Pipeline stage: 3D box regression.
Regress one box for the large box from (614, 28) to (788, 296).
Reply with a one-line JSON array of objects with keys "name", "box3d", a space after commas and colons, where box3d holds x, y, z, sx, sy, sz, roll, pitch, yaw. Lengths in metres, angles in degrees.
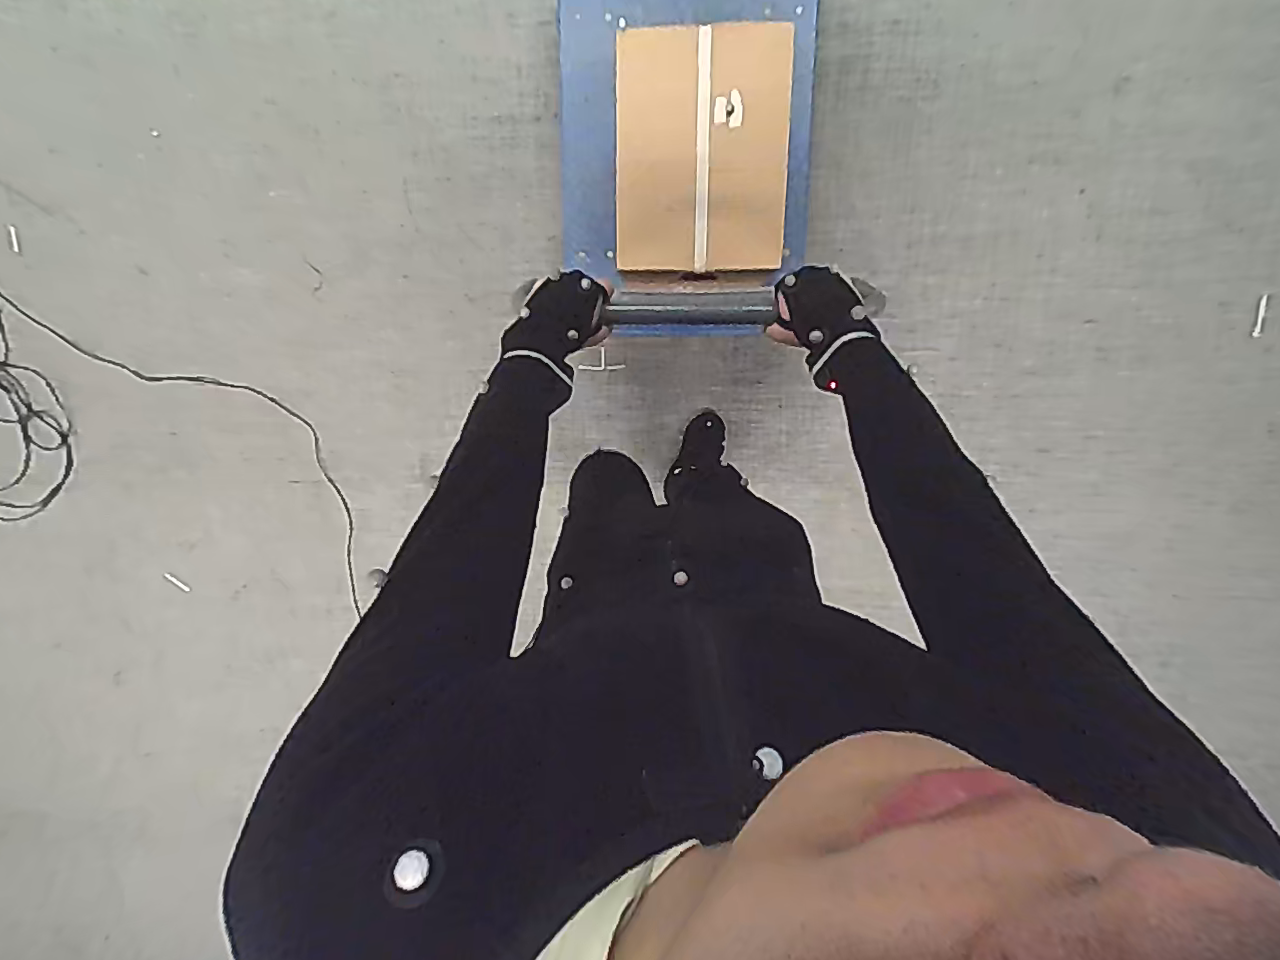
[{"name": "large box", "box3d": [0.119, -0.620, 1.132, 0.320, 0.320, 0.408, 0, 100, 2]}]
